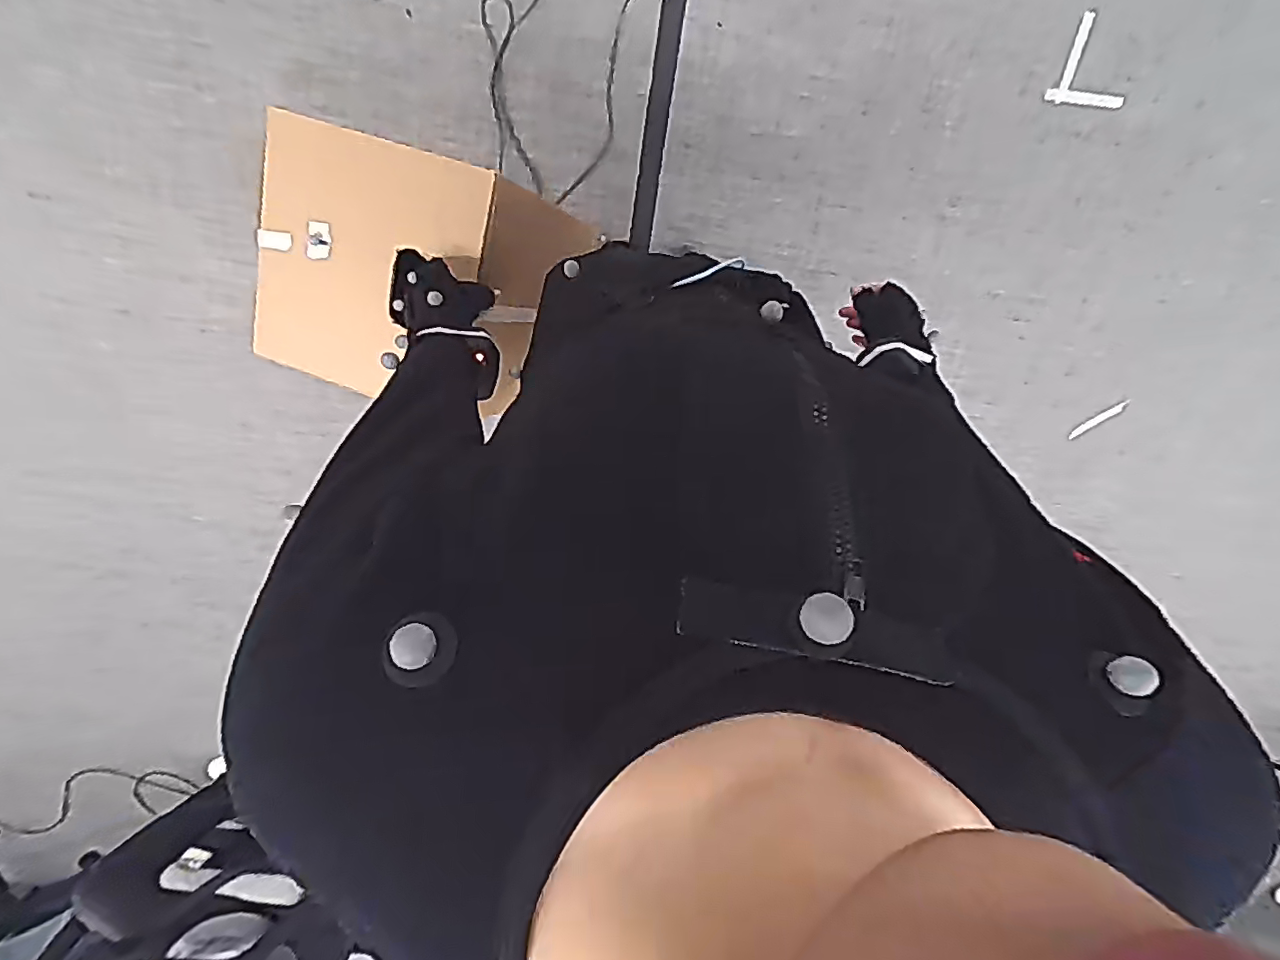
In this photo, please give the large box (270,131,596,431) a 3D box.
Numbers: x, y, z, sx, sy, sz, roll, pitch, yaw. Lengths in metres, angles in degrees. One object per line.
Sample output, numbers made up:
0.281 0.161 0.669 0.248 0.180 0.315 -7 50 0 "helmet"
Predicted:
-0.305 -0.306 0.880 0.320 0.408 0.320 21 109 6 "large box"
